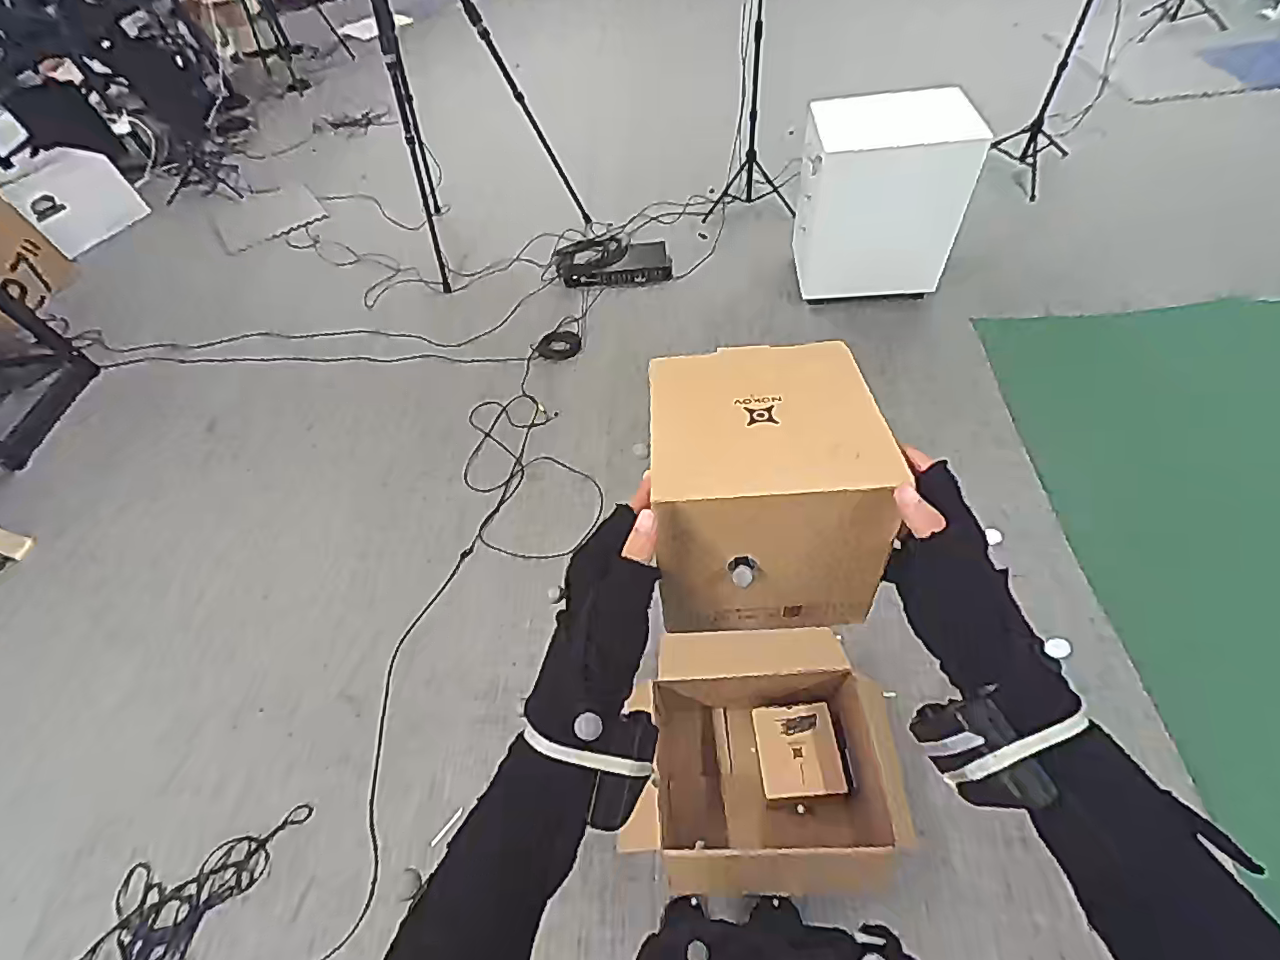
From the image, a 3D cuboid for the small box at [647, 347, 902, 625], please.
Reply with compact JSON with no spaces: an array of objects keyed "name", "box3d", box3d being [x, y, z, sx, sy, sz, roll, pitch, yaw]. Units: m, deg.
[{"name":"small box","box3d":[0.096,0.012,0.463,0.168,0.176,0.179,-5,45,4]}]
